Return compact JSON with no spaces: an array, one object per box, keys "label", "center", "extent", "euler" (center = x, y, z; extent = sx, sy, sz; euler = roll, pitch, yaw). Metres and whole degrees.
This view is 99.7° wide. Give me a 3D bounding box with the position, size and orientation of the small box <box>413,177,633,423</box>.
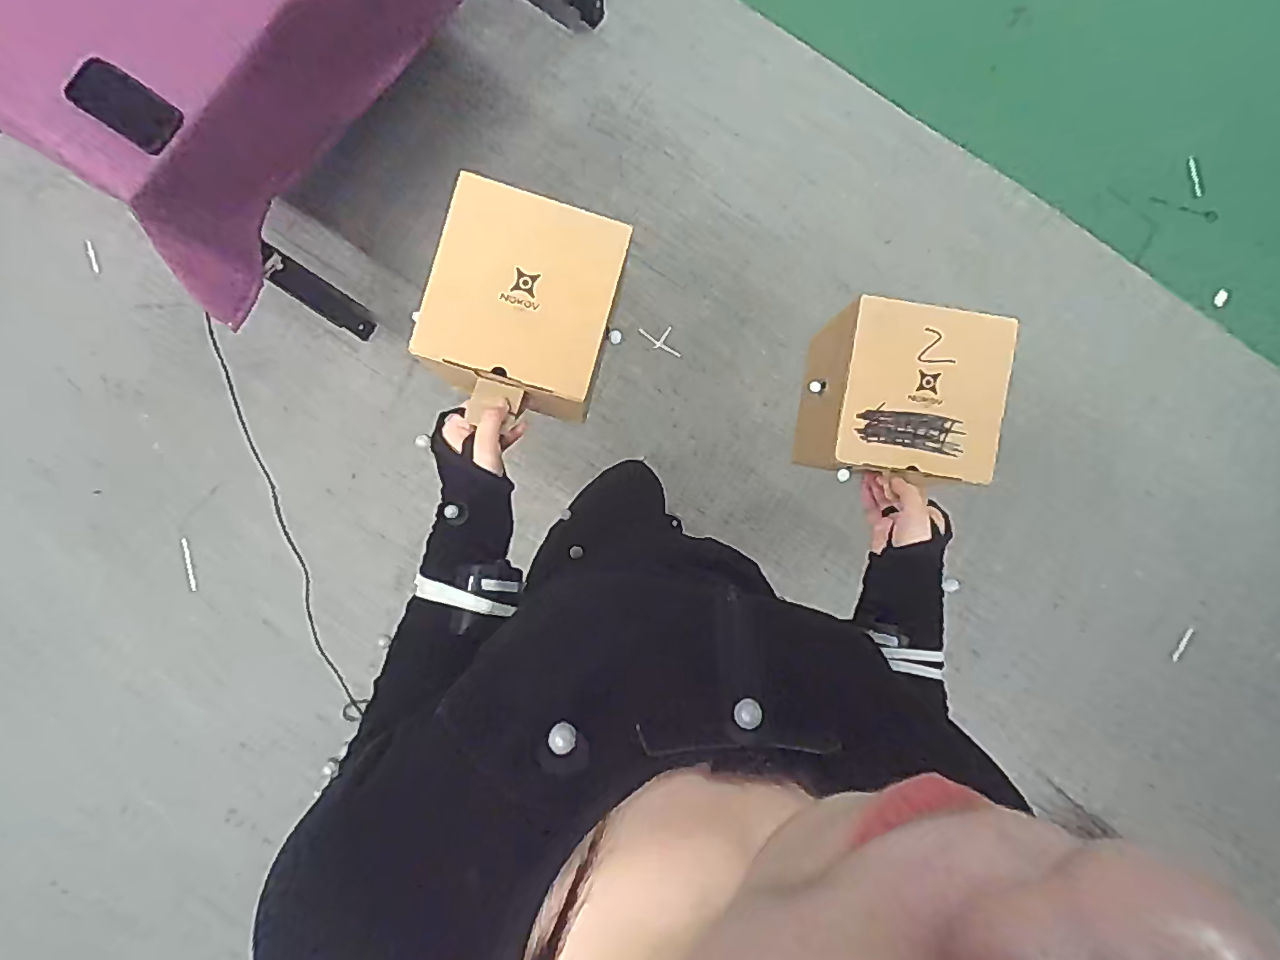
[{"label":"small box","center":[-0.117,-0.172,0.577],"extent":[0.168,0.176,0.179],"euler":[15,88,-7]}]
